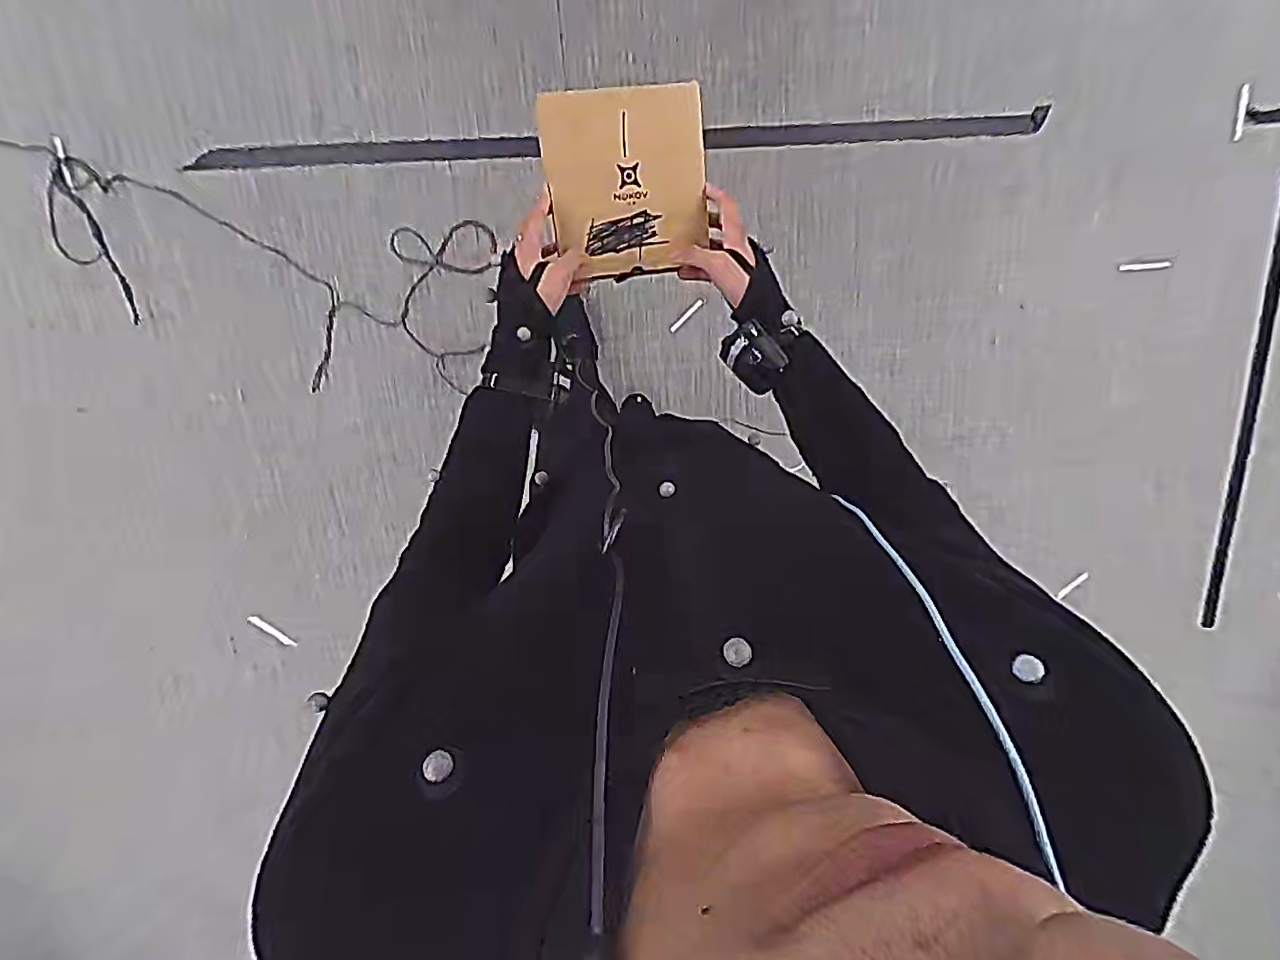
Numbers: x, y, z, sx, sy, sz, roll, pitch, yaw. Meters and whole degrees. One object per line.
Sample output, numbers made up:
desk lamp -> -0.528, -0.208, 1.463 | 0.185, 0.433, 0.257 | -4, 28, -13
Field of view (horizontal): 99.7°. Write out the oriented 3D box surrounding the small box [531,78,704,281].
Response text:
small box -> -0.028, -0.332, 0.630 | 0.168, 0.176, 0.179 | -9, 109, -6
